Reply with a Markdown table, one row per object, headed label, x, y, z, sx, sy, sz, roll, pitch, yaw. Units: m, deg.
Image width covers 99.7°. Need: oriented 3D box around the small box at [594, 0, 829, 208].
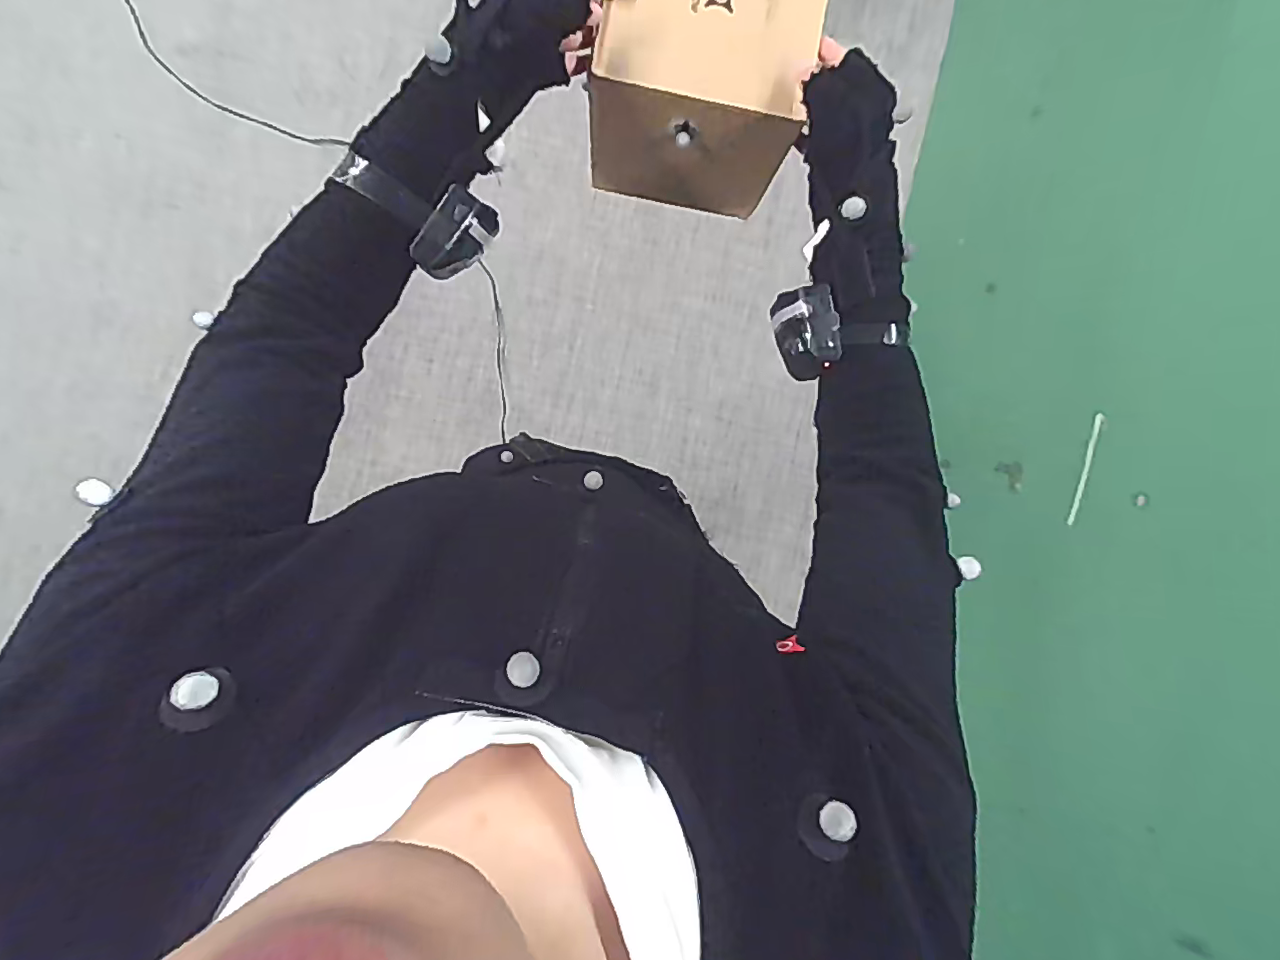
| label | x | y | z | sx | sy | sz | roll | pitch | yaw |
| --- | --- | --- | --- | --- | --- | --- | --- | --- | --- |
| small box | 0.055 | -0.380 | 0.498 | 0.179 | 0.176 | 0.168 | 9 | 91 | -6 |
